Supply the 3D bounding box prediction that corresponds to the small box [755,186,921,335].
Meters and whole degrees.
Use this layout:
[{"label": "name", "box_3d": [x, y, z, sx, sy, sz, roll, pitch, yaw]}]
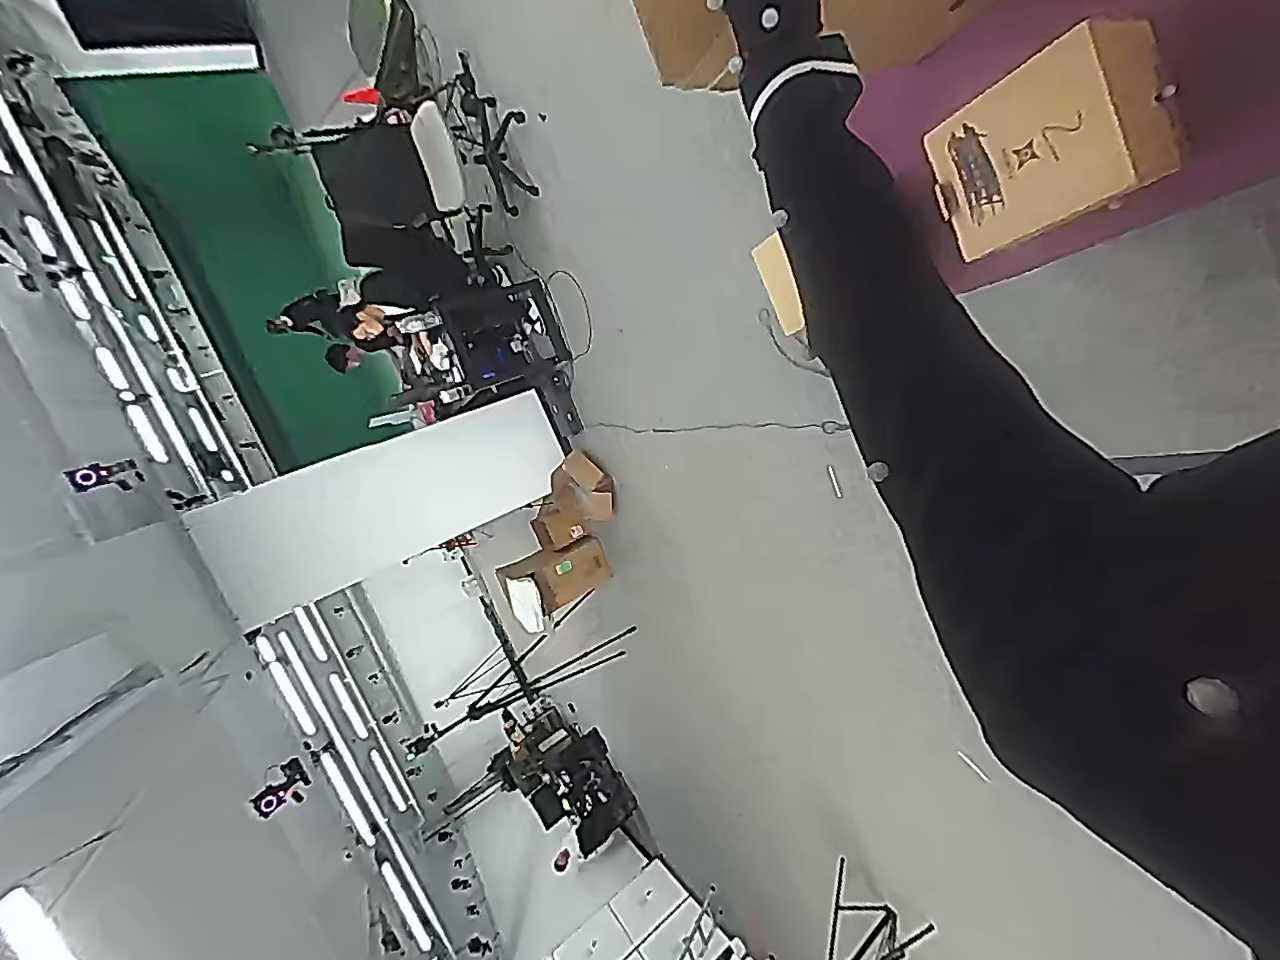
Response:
[{"label": "small box", "box_3d": [0.336, -0.371, 0.925, 0.179, 0.176, 0.168, -16, 99, 62]}]
